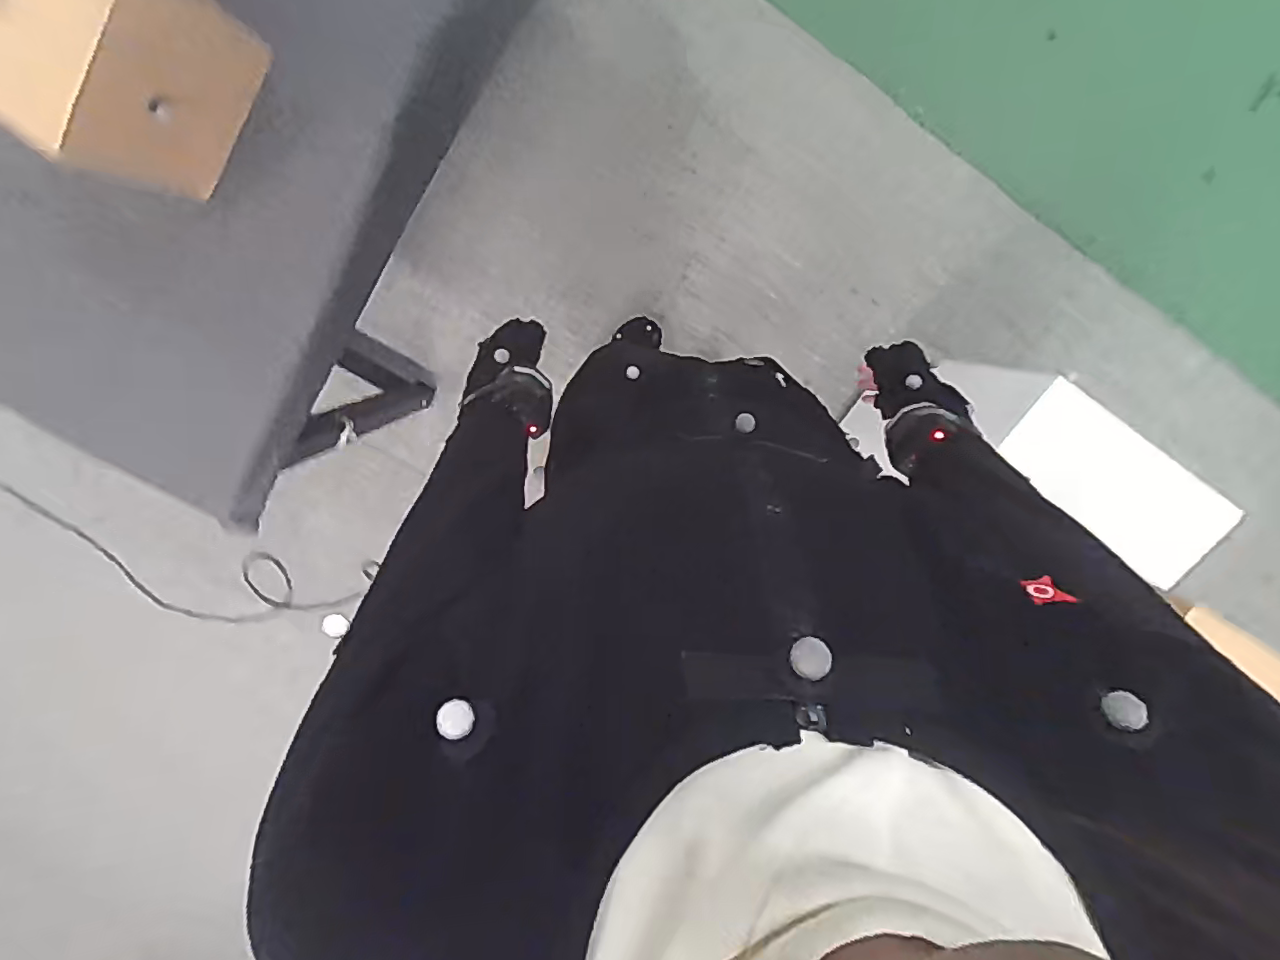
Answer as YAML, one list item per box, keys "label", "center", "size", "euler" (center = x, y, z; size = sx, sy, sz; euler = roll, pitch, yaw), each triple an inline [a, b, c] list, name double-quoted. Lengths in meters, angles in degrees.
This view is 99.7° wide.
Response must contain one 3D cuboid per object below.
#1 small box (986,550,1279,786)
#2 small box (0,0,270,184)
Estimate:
- label: "small box"
  center: [0.567, 0.207, 0.633]
  size: [0.179, 0.176, 0.168]
  euler: [27, 107, -10]
- label: "small box"
  center: [-0.490, -0.408, 0.493]
  size: [0.168, 0.176, 0.179]
  euler: [35, 105, -9]
